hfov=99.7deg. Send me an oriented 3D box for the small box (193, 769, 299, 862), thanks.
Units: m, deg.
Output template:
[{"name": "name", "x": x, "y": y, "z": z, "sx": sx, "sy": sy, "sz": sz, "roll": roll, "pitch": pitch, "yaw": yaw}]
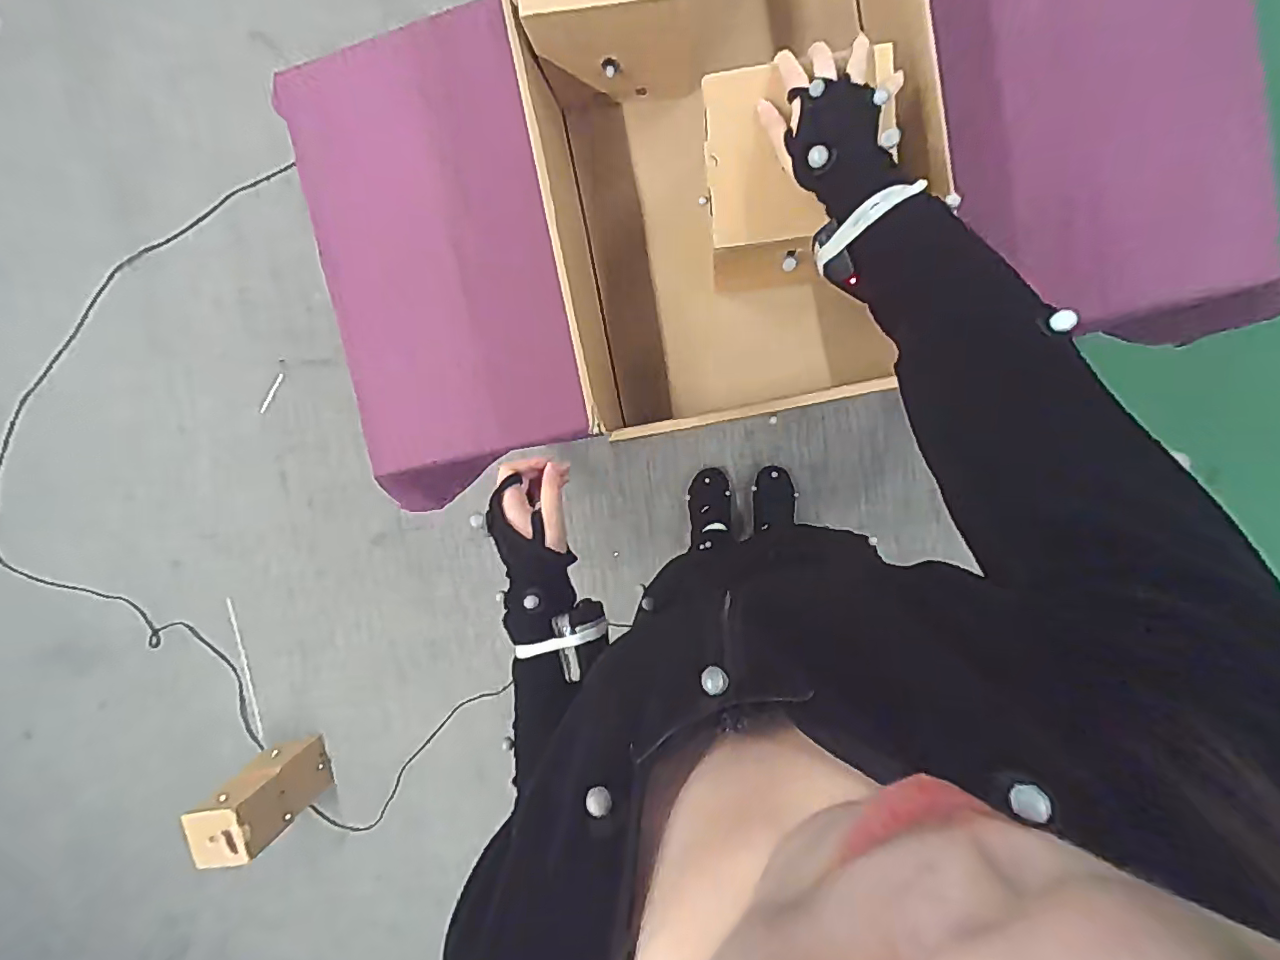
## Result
[{"name": "small box", "x": -1.133, "y": 0.968, "z": 1.573, "sx": 0.179, "sy": 0.176, "sz": 0.168, "roll": -12, "pitch": 94, "yaw": 11}]
